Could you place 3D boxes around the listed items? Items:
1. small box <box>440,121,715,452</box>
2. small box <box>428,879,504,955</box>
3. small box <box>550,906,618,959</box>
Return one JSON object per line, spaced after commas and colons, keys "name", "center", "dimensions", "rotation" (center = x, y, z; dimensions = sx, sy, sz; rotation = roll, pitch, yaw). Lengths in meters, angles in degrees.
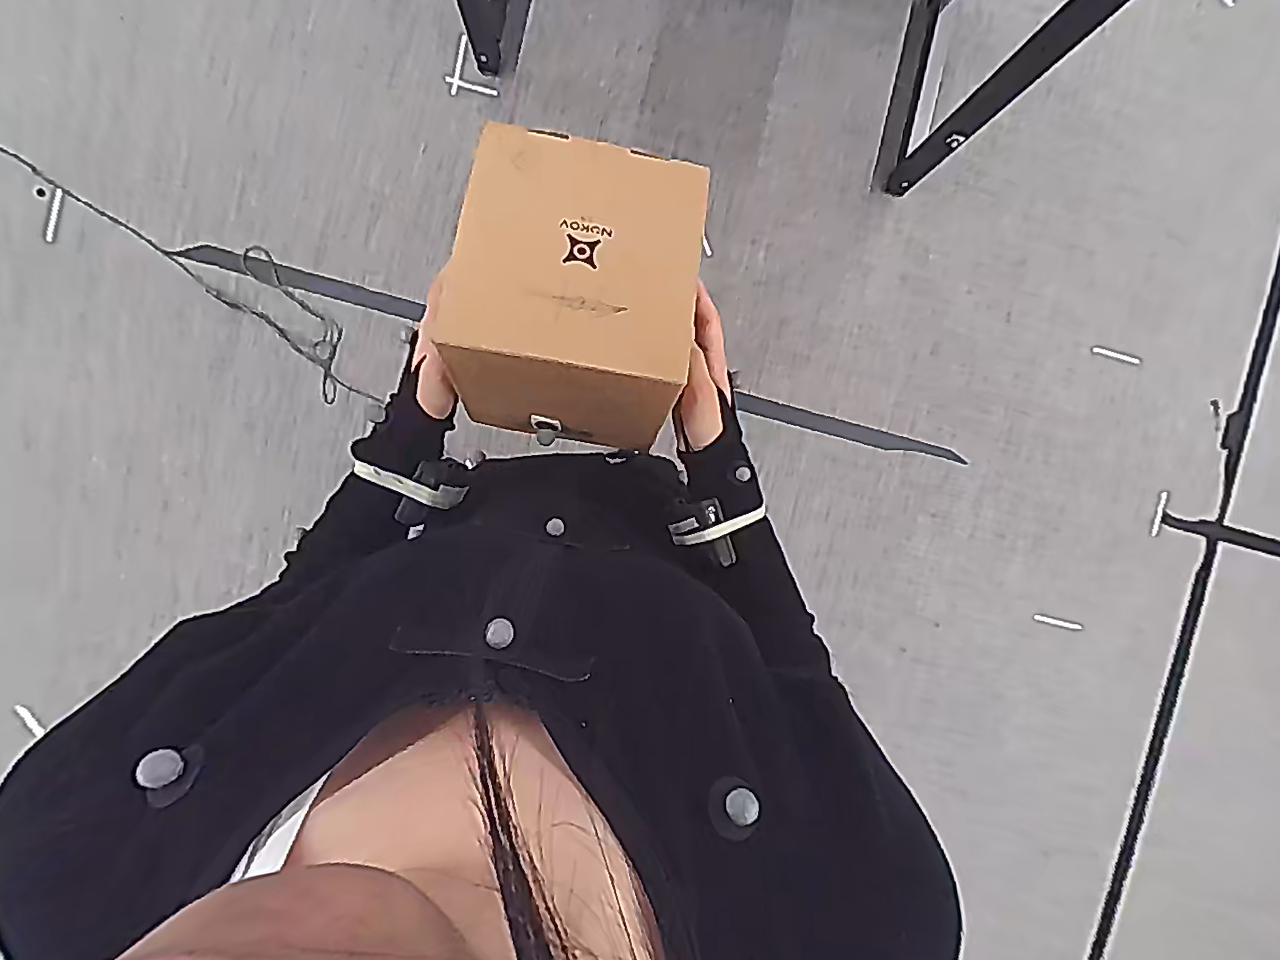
{"name": "small box", "center": [-0.046, -0.137, 0.442], "dimensions": [0.168, 0.176, 0.179], "rotation": [9, 76, -6]}
{"name": "small box", "center": [-0.473, 1.225, 1.445], "dimensions": [0.168, 0.176, 0.179], "rotation": [16, 91, -6]}
{"name": "small box", "center": [-0.156, 1.309, 1.478], "dimensions": [0.179, 0.176, 0.168], "rotation": [1, 93, -6]}
